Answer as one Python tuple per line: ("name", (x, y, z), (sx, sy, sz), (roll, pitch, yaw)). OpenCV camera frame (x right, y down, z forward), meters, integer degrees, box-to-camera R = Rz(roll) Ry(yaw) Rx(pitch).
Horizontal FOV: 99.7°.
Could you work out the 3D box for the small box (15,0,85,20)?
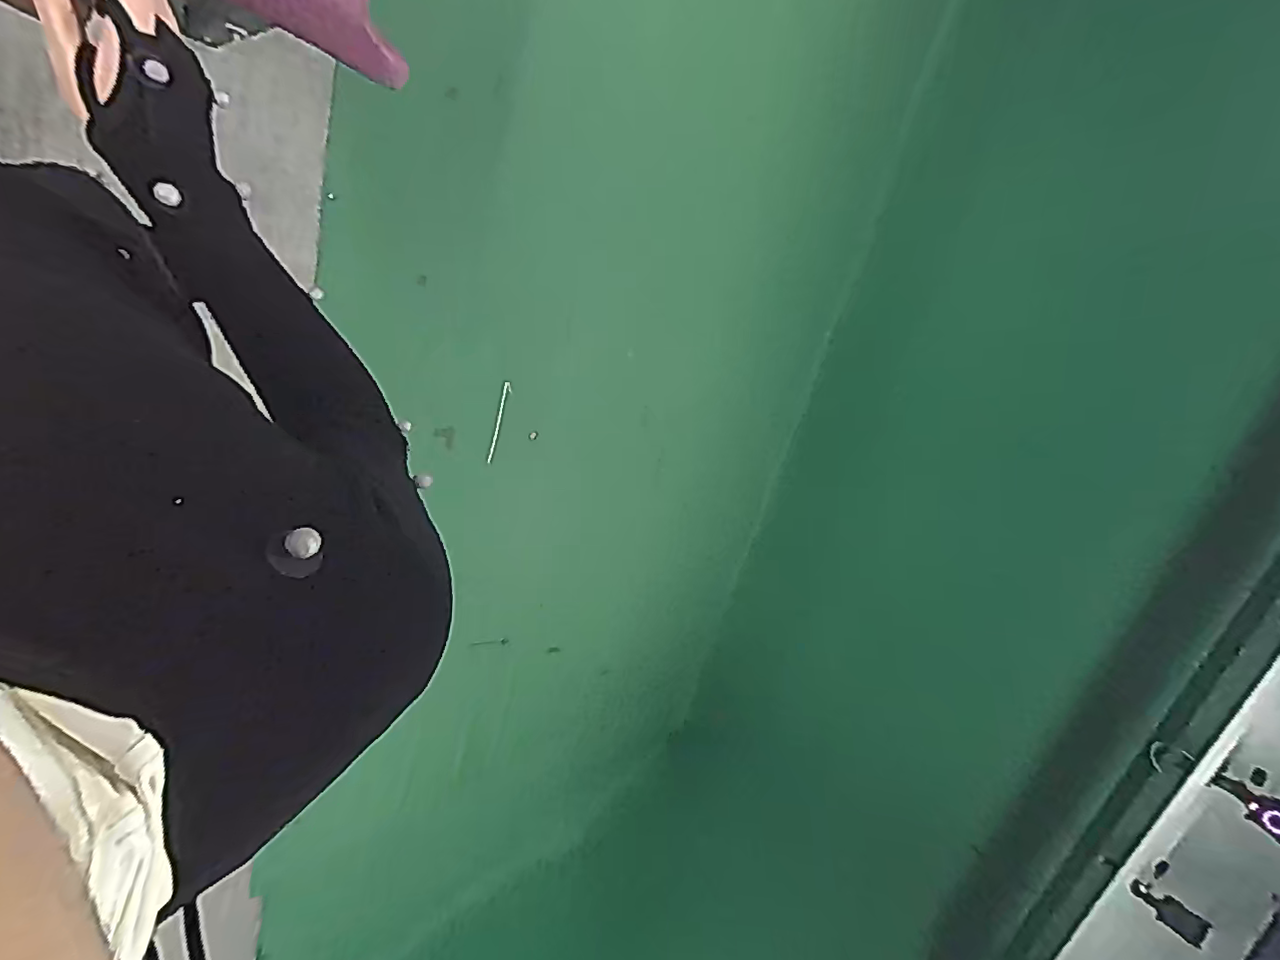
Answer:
("small box", (-0.437, -0.430, 0.321), (0.168, 0.176, 0.179), (6, 104, -49))
